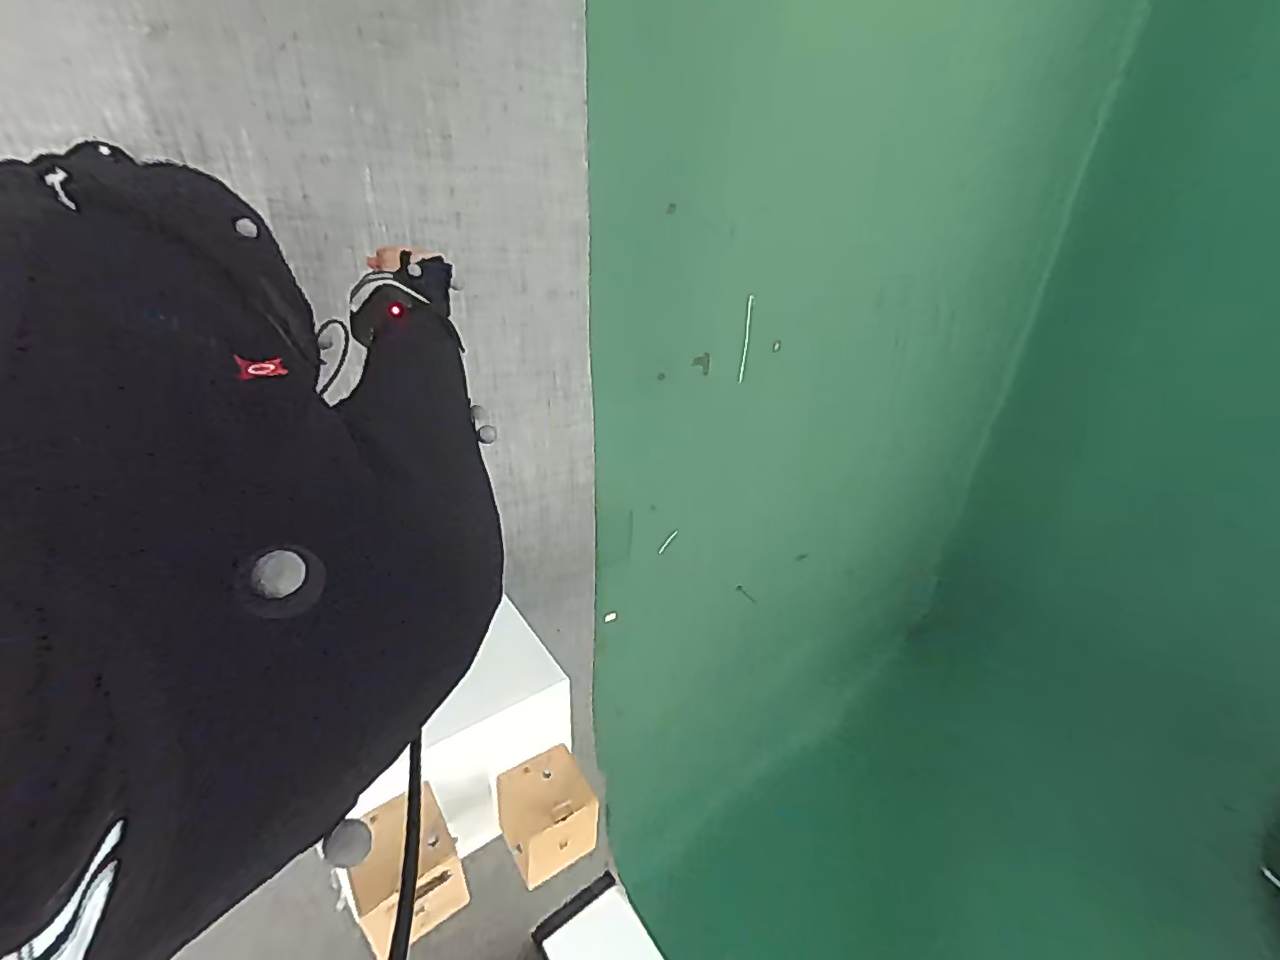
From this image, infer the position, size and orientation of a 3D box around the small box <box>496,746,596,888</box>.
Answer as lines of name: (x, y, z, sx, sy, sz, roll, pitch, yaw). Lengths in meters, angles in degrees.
small box: (-0.214, 0.741, 1.208, 0.168, 0.176, 0.179, -13, 121, -33)
